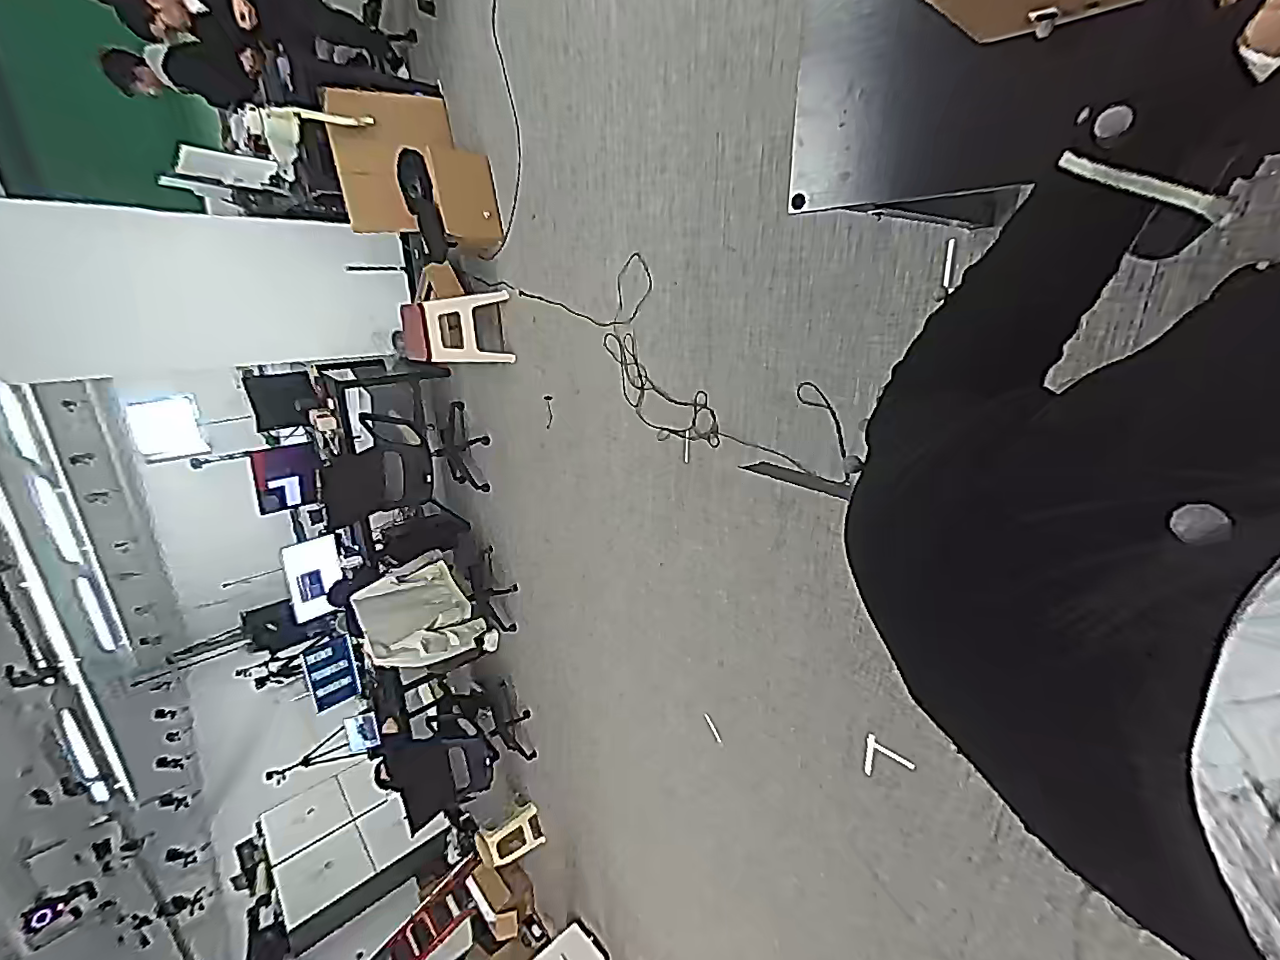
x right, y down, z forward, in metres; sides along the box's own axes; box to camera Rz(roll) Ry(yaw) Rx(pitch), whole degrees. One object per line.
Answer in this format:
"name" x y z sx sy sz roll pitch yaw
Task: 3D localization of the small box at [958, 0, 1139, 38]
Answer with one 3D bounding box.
"small box" 0.390 -0.543 0.482 0.168 0.176 0.179 21 119 46
